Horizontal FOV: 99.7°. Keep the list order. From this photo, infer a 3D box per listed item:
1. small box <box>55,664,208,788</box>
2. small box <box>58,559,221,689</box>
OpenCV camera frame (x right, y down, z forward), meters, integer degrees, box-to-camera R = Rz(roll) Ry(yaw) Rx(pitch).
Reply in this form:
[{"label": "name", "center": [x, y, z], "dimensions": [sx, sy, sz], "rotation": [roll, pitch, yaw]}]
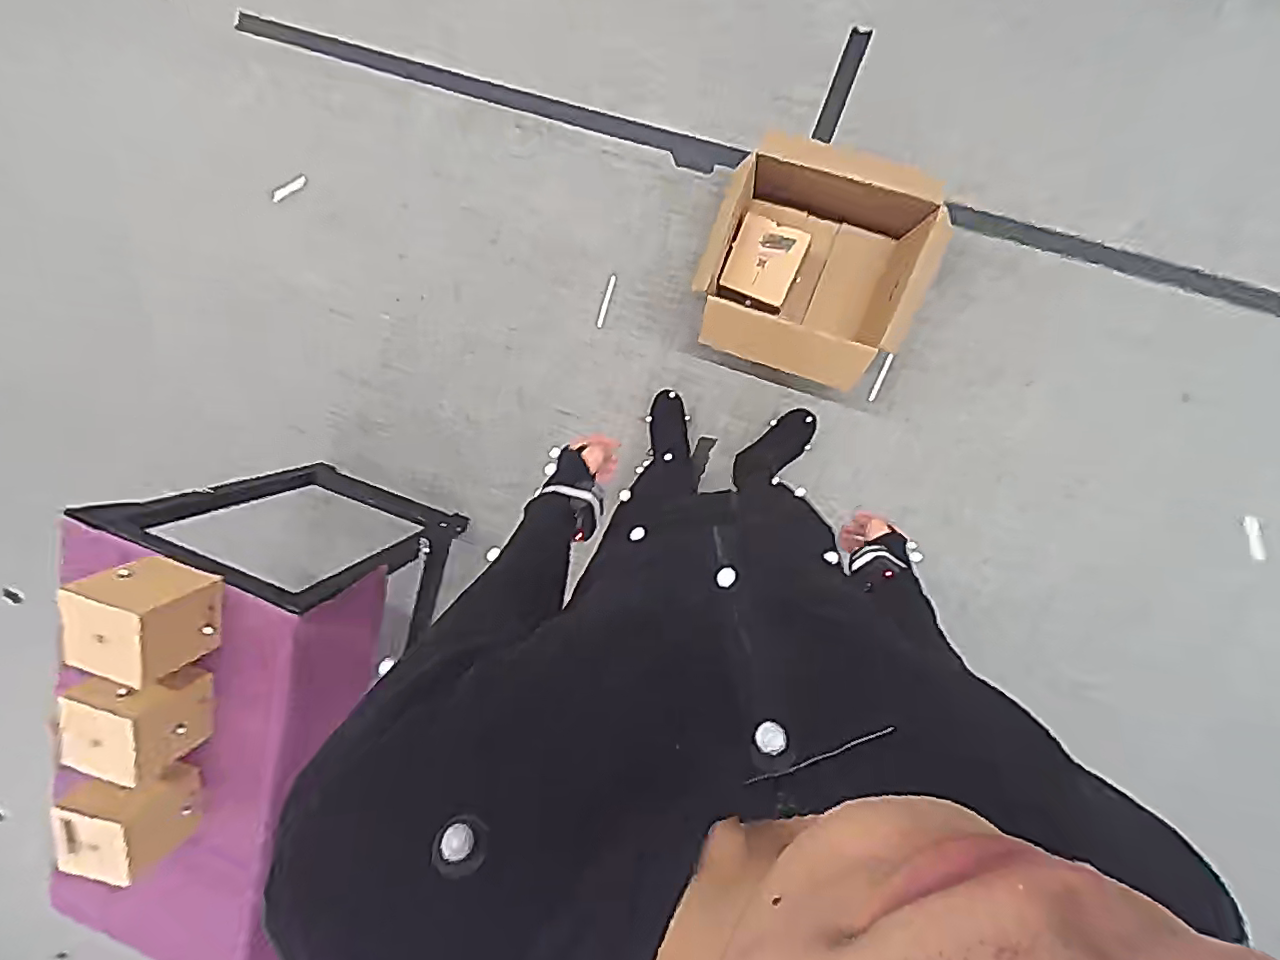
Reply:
[{"label": "small box", "center": [-1.053, 0.495, 1.135], "dimensions": [0.179, 0.176, 0.168], "rotation": [14, 104, 8]}, {"label": "small box", "center": [-0.984, 0.274, 1.073], "dimensions": [0.179, 0.176, 0.168], "rotation": [16, 107, 8]}]
